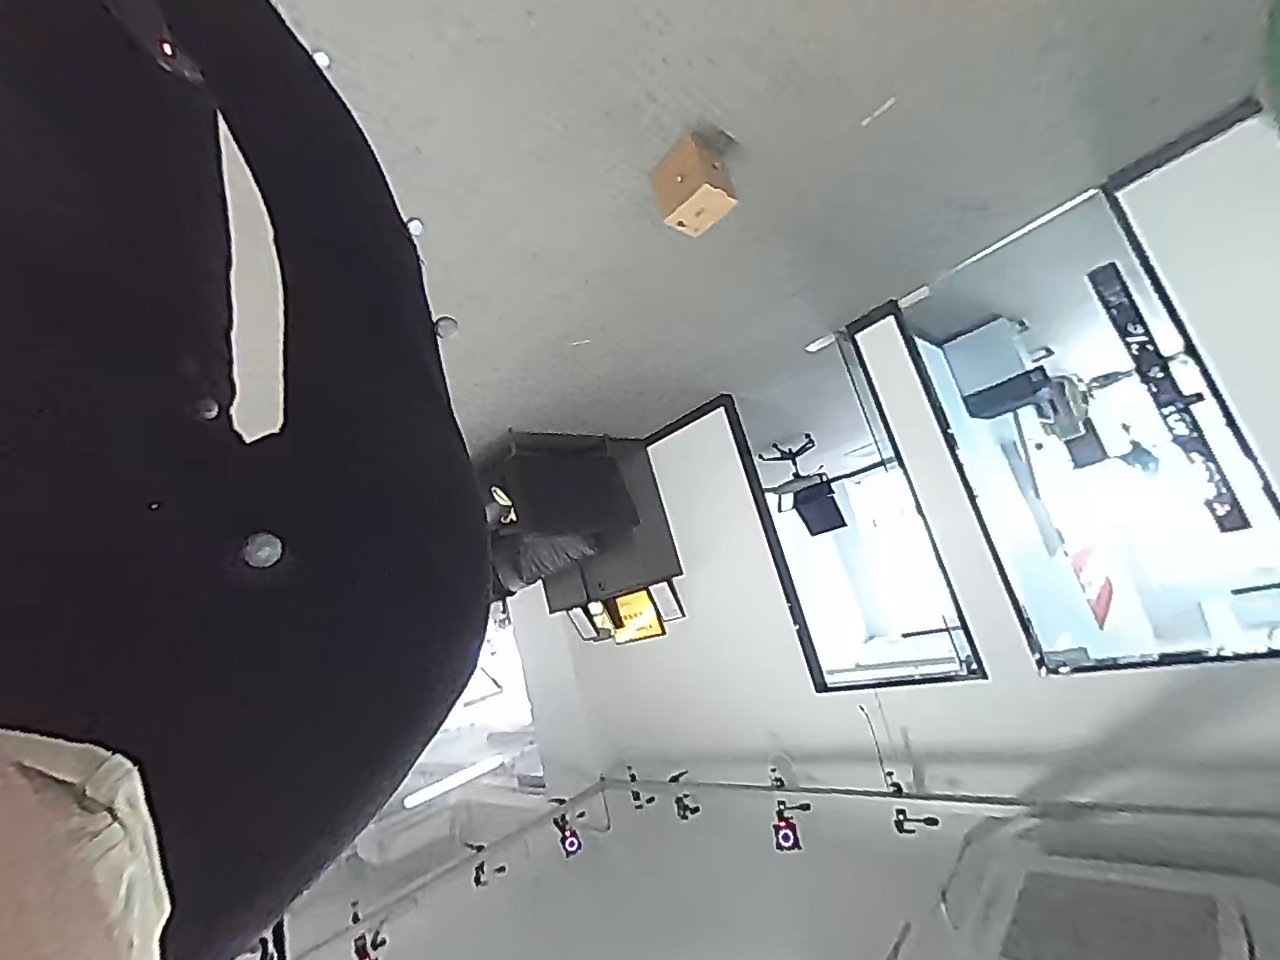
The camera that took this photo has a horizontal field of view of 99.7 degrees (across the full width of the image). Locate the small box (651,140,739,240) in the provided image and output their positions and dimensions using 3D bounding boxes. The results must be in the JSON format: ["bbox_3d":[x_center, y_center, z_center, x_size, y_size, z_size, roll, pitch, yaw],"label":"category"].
[{"bbox_3d":[0.159,-0.861,1.607,0.168,0.176,0.179,-3,162,-47],"label":"small box"}]
